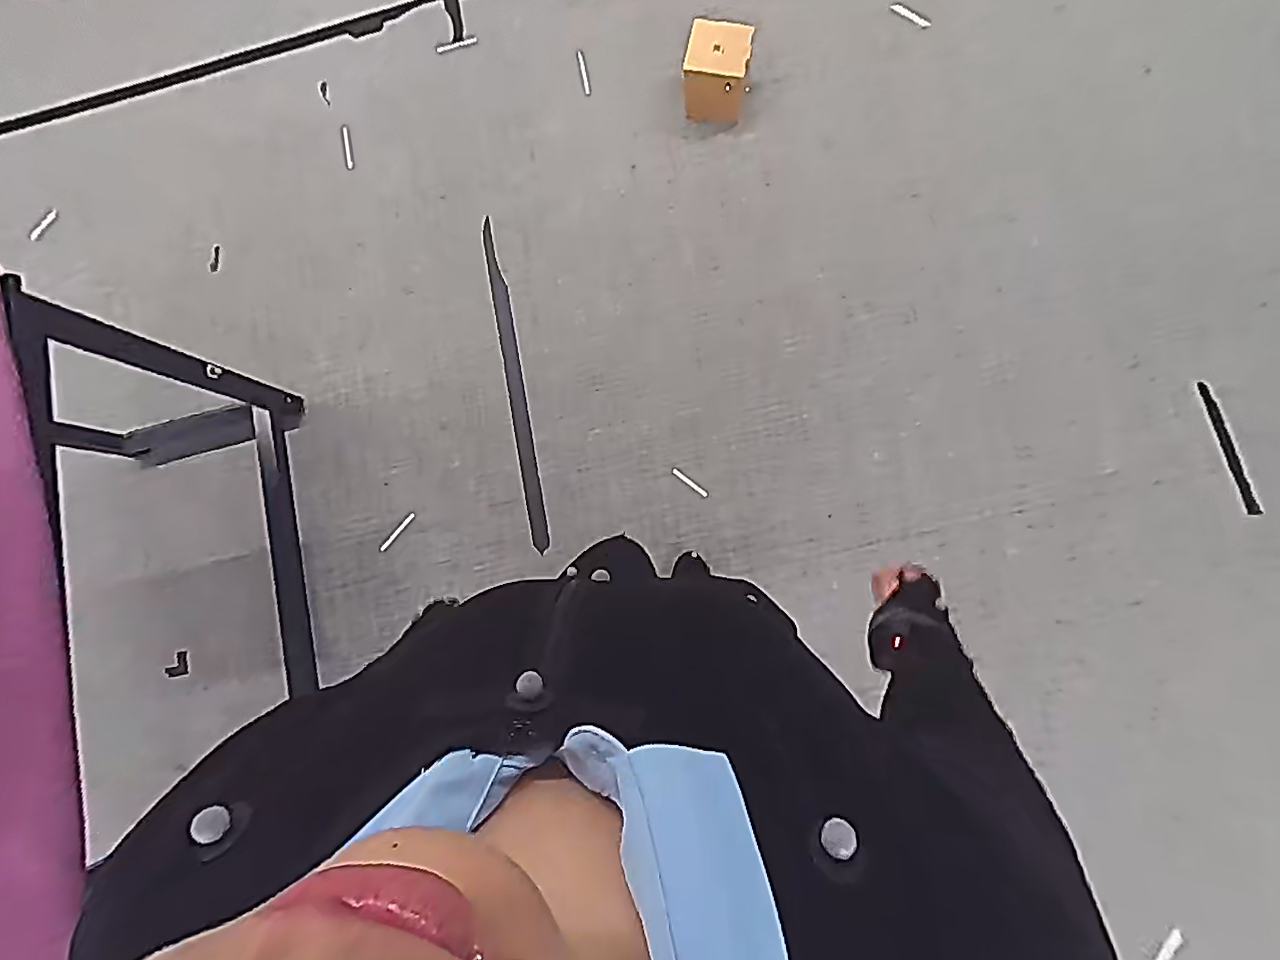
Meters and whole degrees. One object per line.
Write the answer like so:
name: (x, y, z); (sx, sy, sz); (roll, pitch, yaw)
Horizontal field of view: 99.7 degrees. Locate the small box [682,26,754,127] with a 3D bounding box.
small box: (0.225, -1.186, 1.598); (0.179, 0.176, 0.168); (13, 83, 6)
